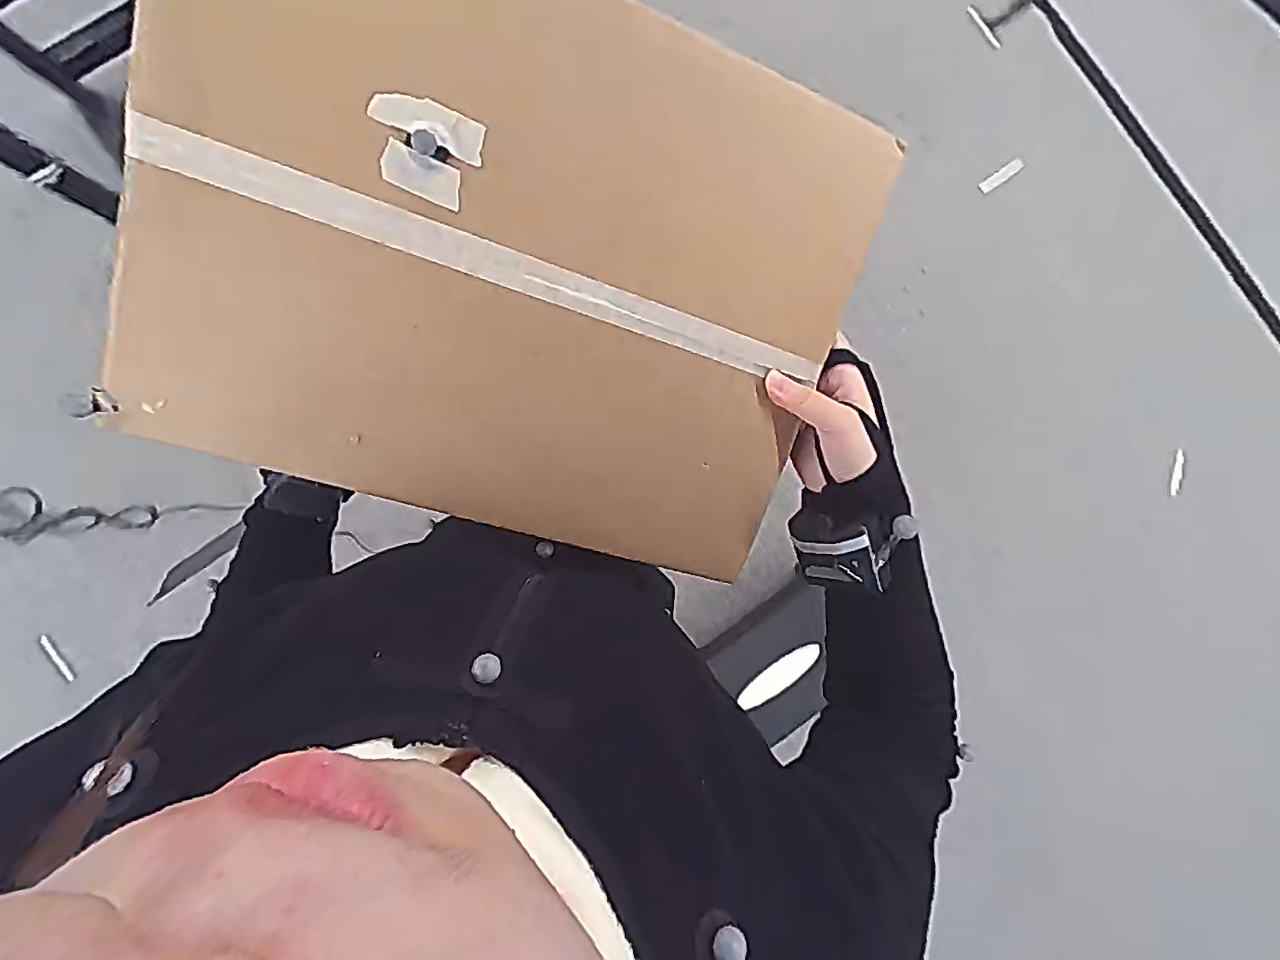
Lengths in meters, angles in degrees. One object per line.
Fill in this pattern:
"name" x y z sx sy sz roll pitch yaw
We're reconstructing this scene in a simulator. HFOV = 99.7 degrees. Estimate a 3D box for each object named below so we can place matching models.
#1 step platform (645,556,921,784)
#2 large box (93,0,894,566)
"step platform" 0.359 0.473 1.400 0.684 0.204 0.286 -29 89 -4
"large box" -0.097 -0.164 0.455 0.408 0.320 0.320 15 101 -13
